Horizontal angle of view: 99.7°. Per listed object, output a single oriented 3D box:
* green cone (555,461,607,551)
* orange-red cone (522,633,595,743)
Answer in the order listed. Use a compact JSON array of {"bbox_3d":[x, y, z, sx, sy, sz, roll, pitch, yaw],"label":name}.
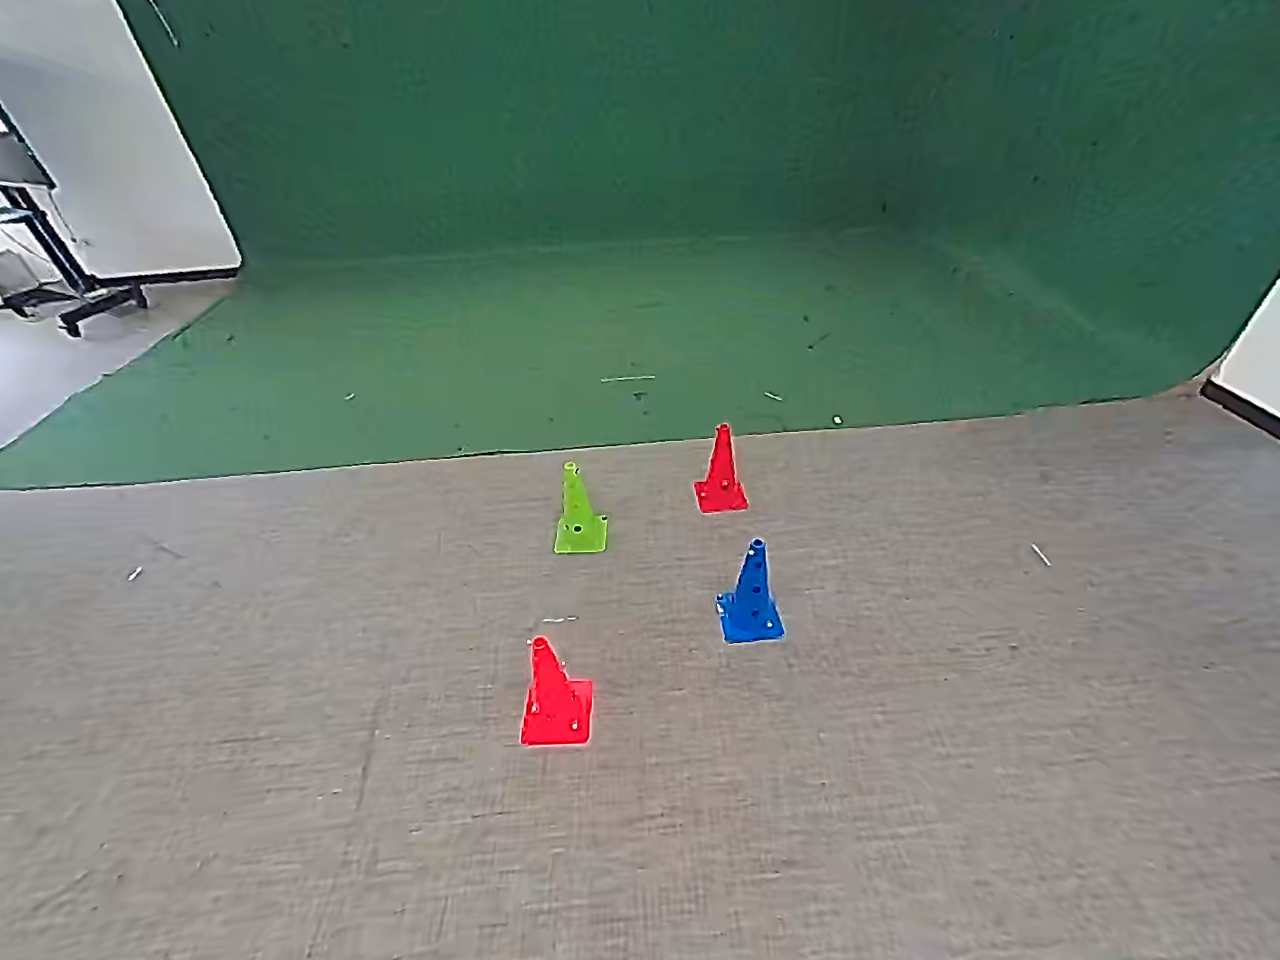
[{"bbox_3d":[-0.243,0.075,2.055,0.200,0.368,0.202,-3,40,1],"label":"green cone"},{"bbox_3d":[-0.245,0.543,1.493,0.198,0.360,0.199,-1,38,2],"label":"orange-red cone"}]
